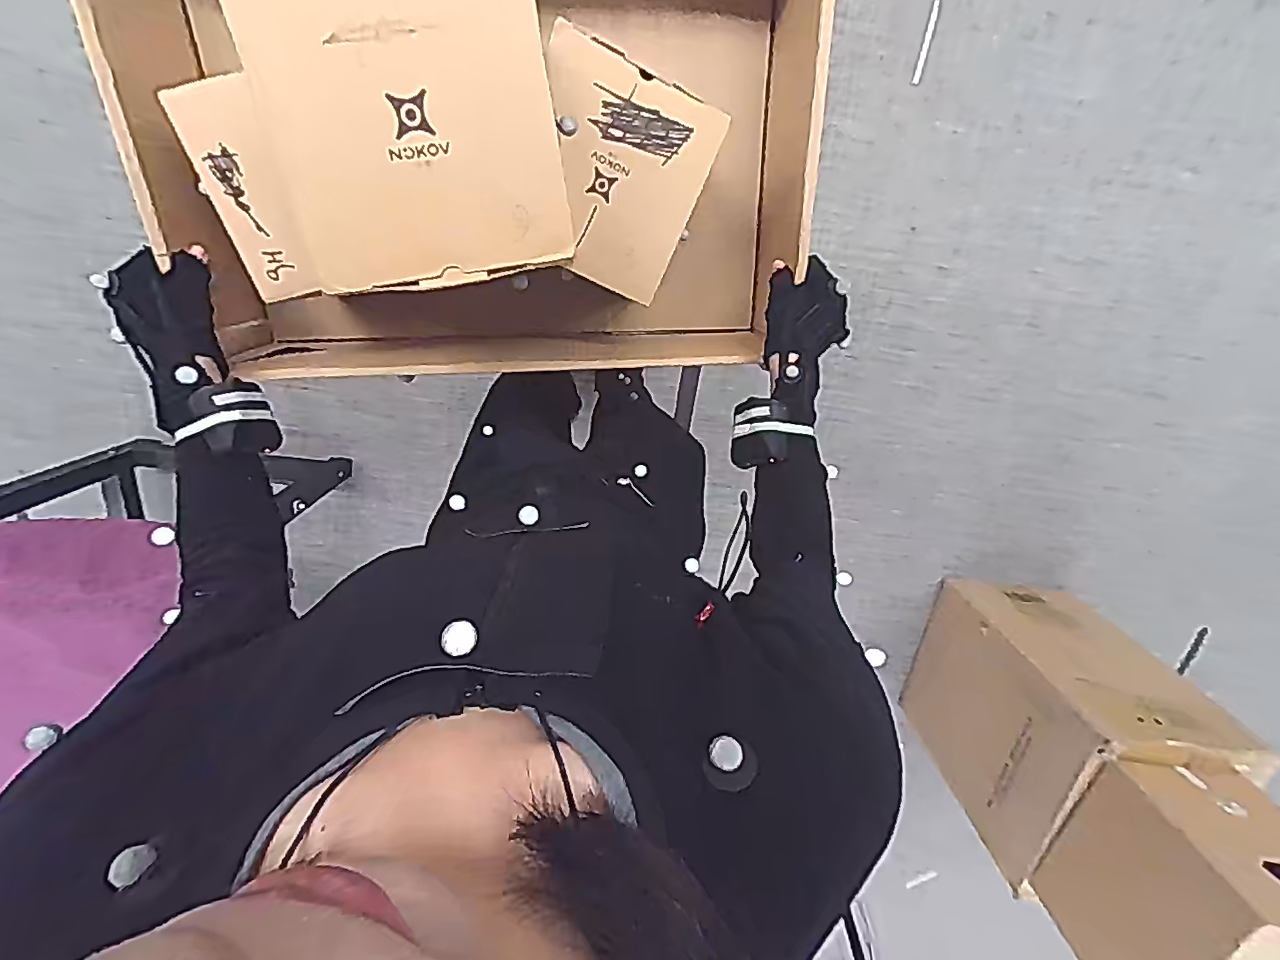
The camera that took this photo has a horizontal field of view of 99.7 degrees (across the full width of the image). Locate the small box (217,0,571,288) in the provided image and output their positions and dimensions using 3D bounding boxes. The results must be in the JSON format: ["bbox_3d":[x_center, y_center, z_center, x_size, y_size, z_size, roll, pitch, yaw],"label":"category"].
[{"bbox_3d":[-0.143,-0.242,0.382,0.168,0.176,0.179,-11,113,-4],"label":"small box"}]

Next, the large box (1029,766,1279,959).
[{"bbox_3d":[1.086,0.843,1.068,0.320,0.320,0.408,9,112,-3],"label":"large box"}]
